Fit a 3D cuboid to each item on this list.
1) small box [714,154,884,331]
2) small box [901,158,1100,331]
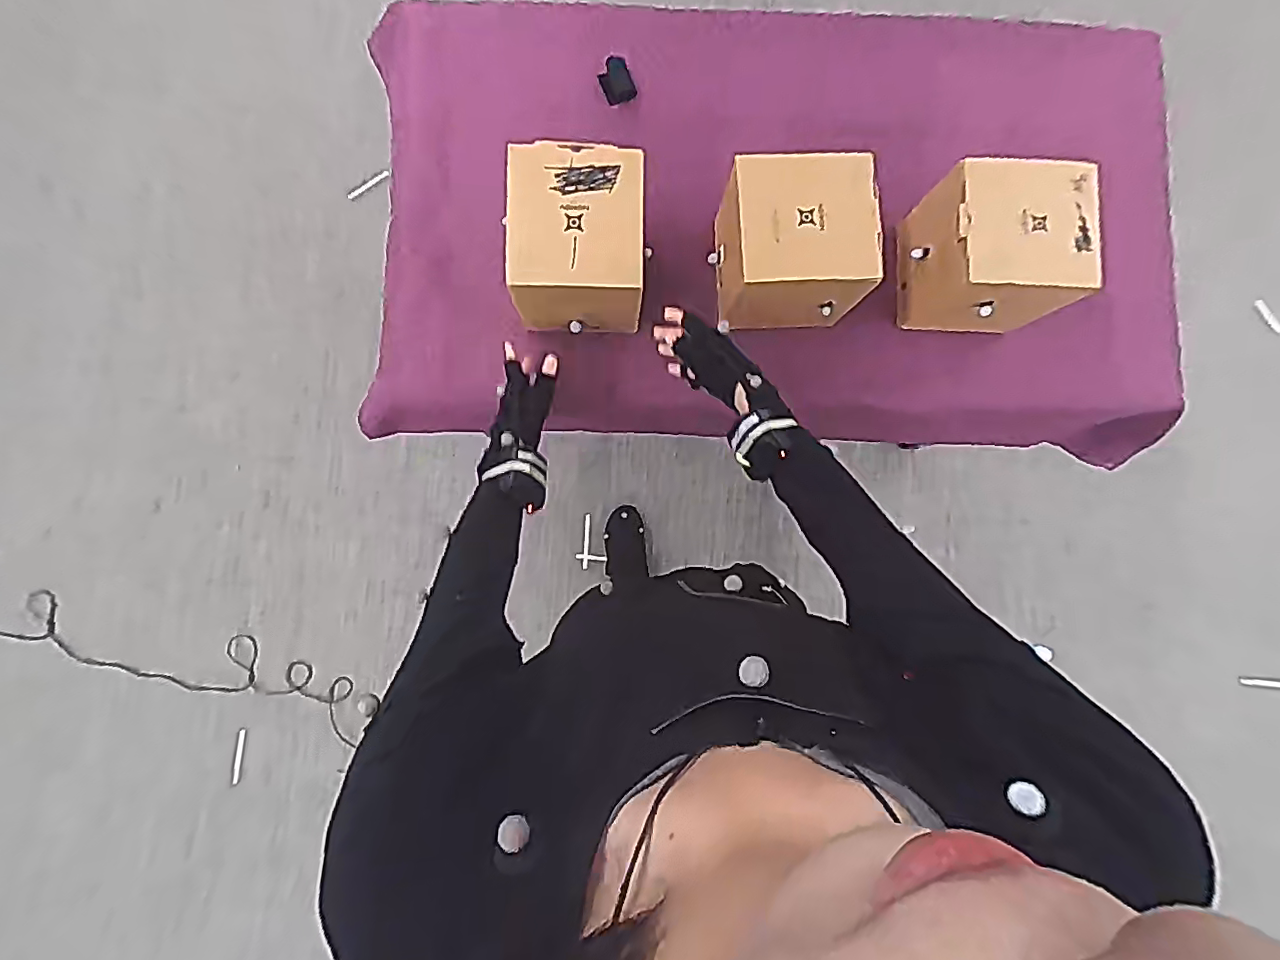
[{"bbox_3d":[0.207,-0.315,0.747,0.179,0.176,0.168,-4,84,-2],"label":"small box"},{"bbox_3d":[0.486,-0.317,0.757,0.179,0.176,0.168,1,86,-1],"label":"small box"}]
